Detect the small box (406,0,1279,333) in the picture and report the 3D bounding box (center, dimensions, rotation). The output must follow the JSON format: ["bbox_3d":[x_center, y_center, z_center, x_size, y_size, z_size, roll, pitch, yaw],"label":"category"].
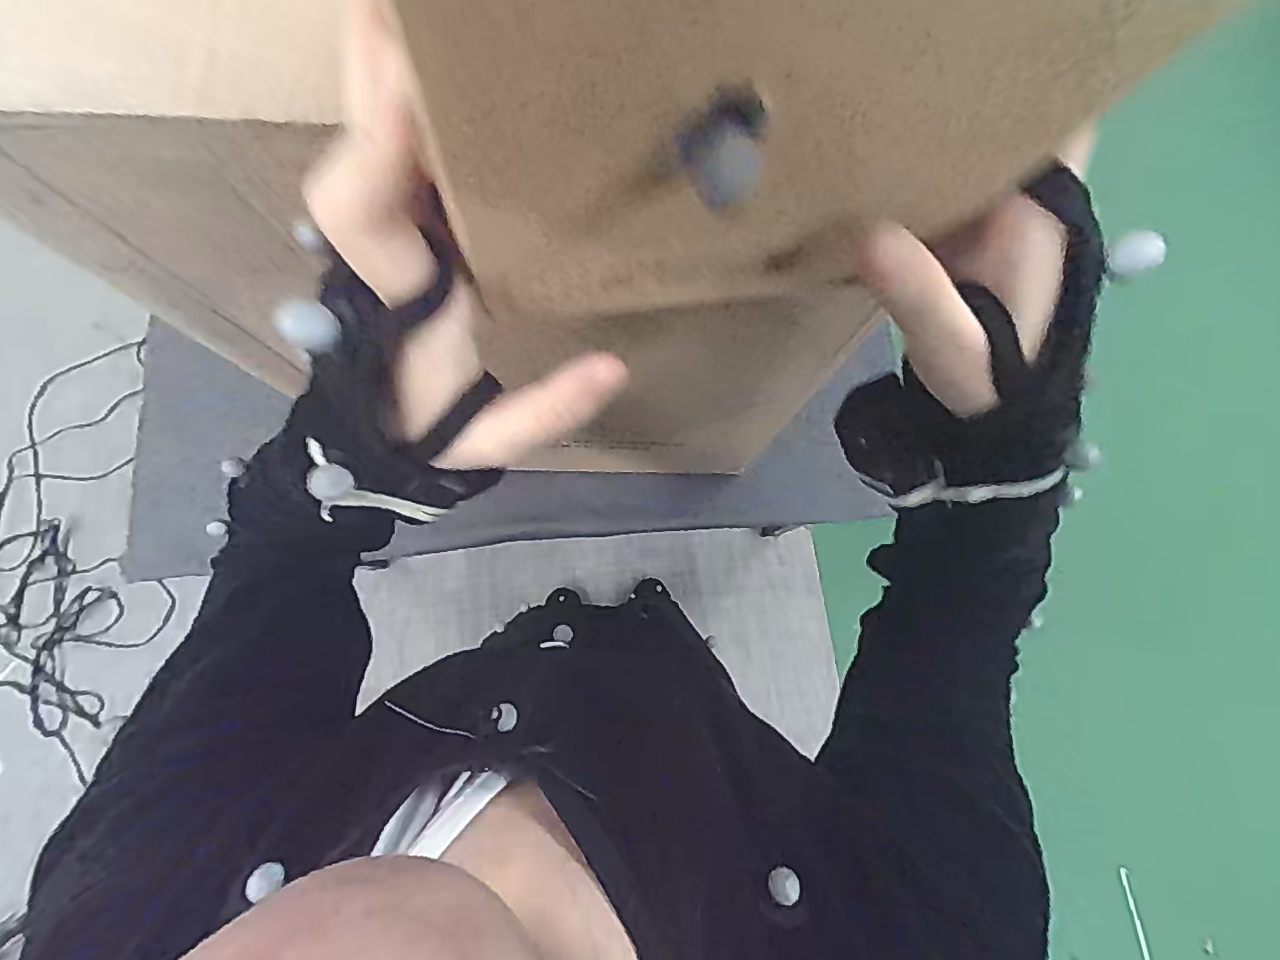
[{"bbox_3d":[0.030,-0.150,0.146,0.168,0.176,0.179,-9,86,-9],"label":"small box"}]
